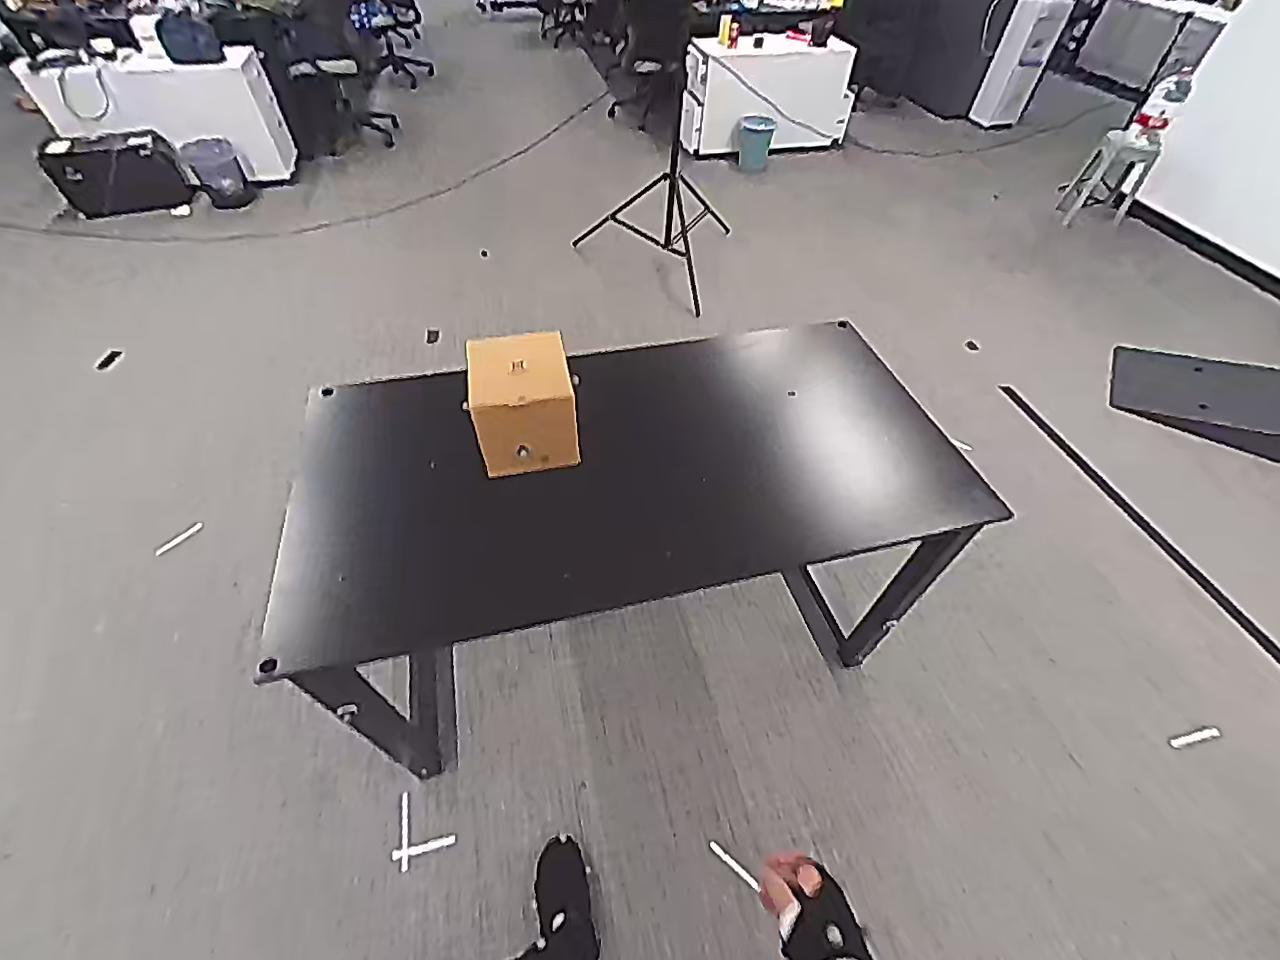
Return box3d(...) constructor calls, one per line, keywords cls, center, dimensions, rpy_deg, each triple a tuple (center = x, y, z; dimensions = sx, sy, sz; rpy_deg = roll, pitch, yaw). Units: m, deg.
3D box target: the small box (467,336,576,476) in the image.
box3d(cls="small box", center=(-0.210, -0.133, 0.972), dimensions=(0.168, 0.176, 0.179), rpy_deg=(-9, 51, -10))
